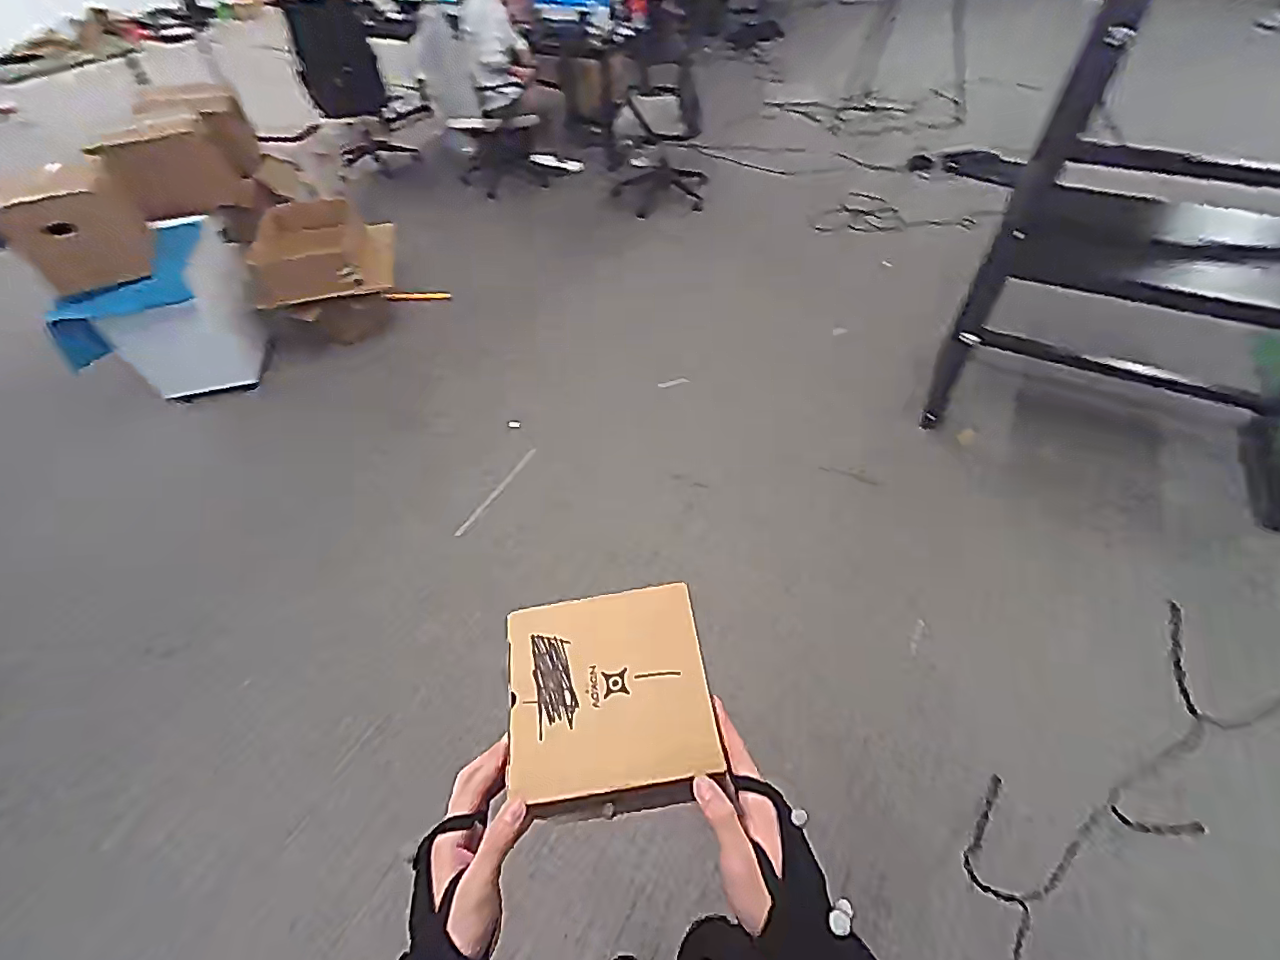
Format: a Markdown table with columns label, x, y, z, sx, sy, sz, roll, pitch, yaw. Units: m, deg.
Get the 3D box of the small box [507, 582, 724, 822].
| label | x | y | z | sx | sy | sz | roll | pitch | yaw |
| --- | --- | --- | --- | --- | --- | --- | --- | --- | --- |
| small box | -0.019 | 0.222 | 0.529 | 0.179 | 0.176 | 0.168 | -9 | 53 | 0 |
